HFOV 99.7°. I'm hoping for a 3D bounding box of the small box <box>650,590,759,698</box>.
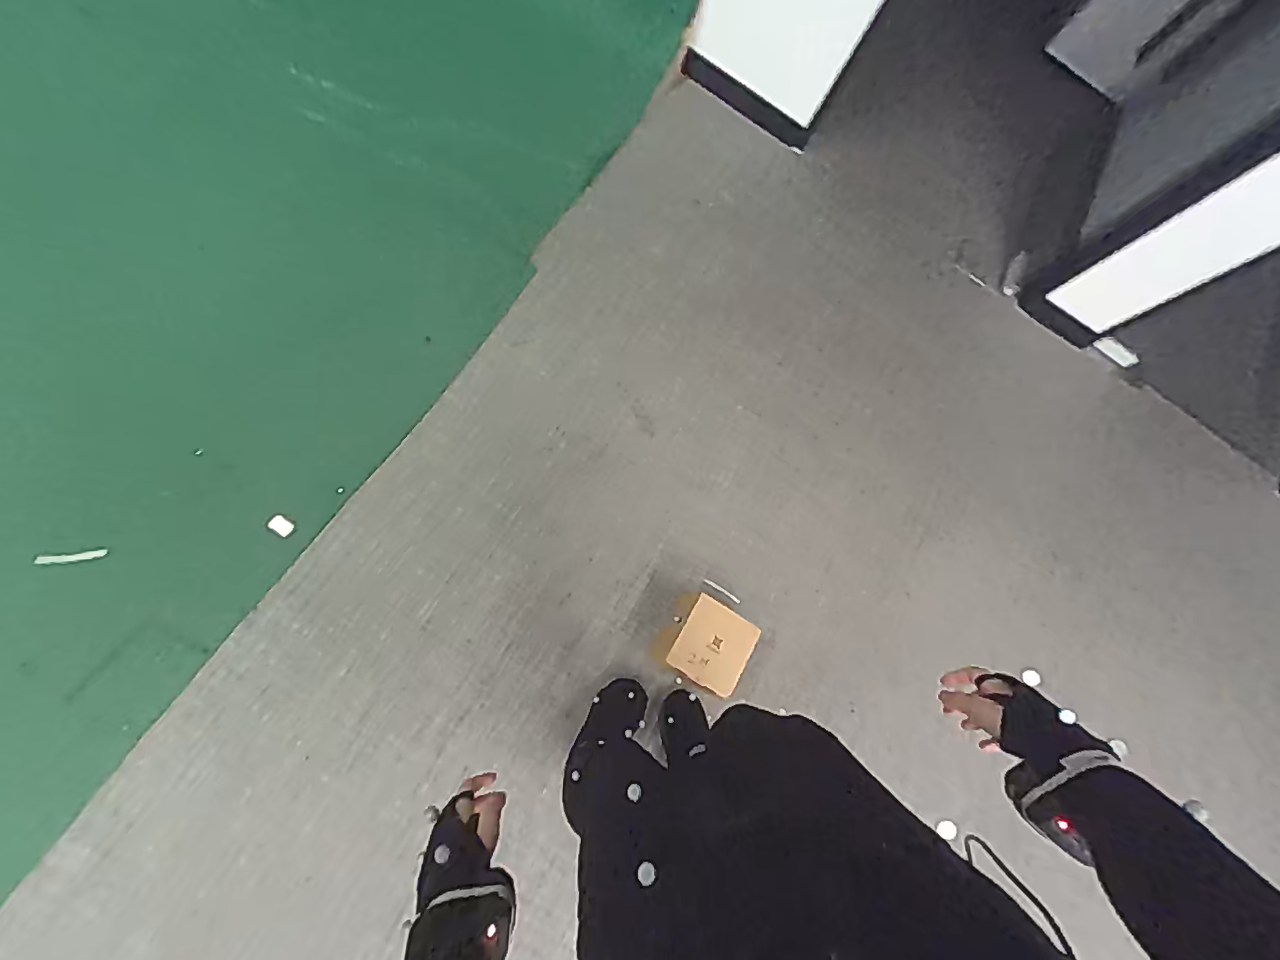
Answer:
[{"bbox_3d":[0.142,0.376,1.262,0.168,0.176,0.179,35,72,-3],"label":"small box"}]
